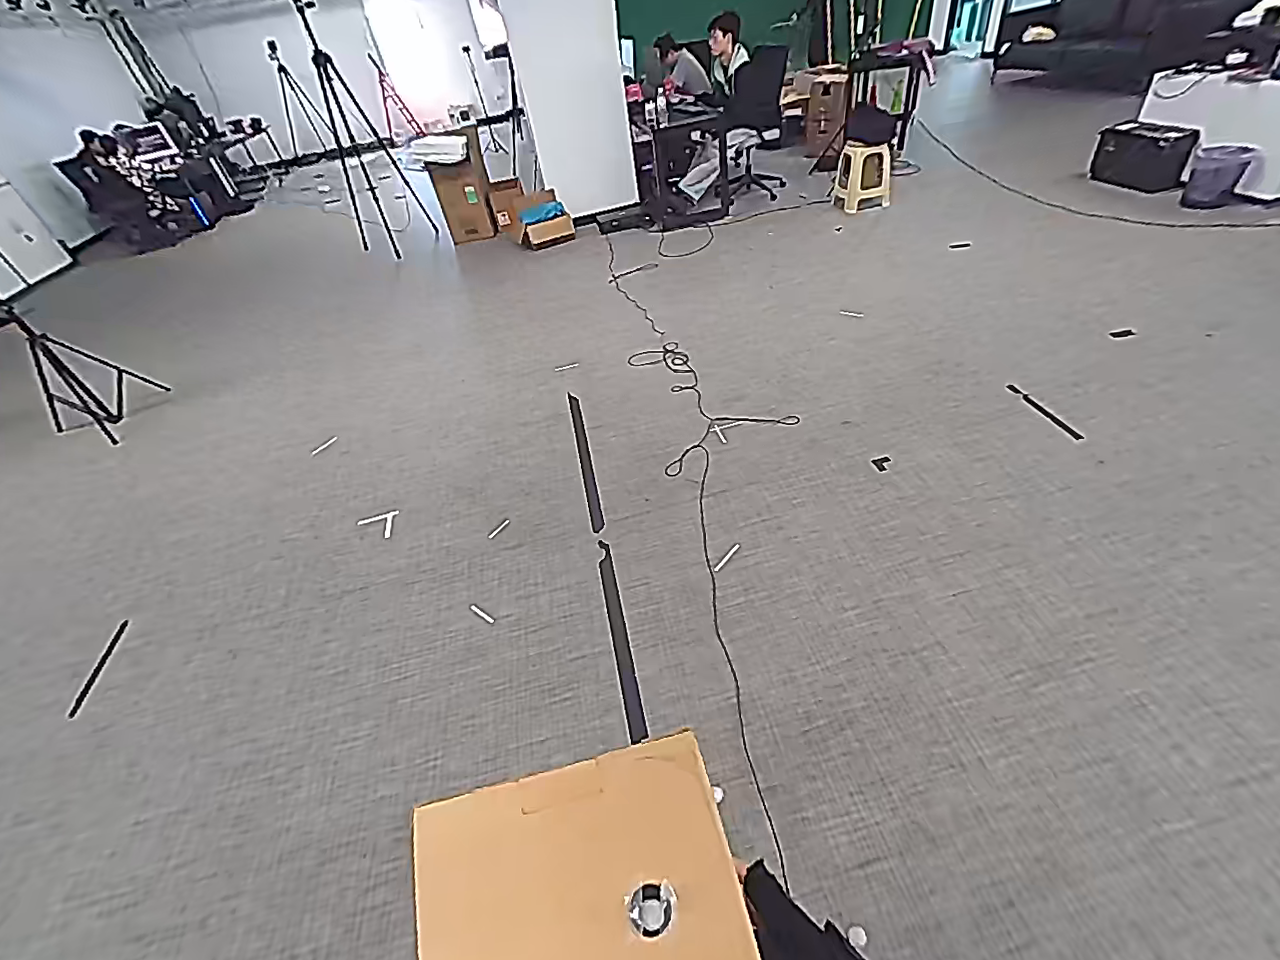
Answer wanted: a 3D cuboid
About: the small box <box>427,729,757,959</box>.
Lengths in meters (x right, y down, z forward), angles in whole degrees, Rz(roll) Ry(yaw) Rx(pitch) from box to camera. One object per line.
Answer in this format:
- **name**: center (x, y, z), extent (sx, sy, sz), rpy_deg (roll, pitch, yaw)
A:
- **small box**: center (-0.022, 0.282, 0.358), extent (0.168, 0.179, 0.176), rpy_deg (-13, 61, -5)
